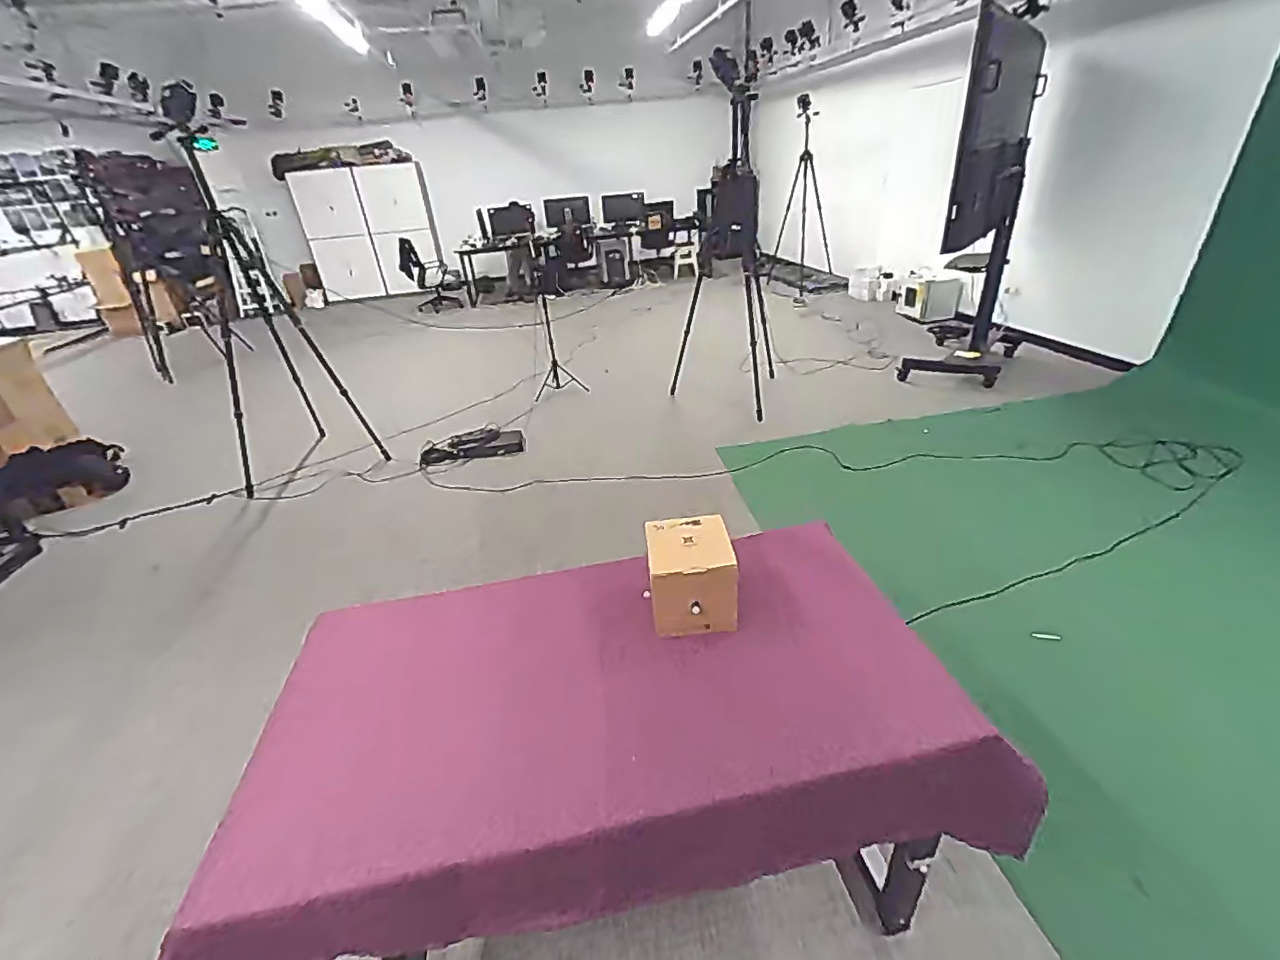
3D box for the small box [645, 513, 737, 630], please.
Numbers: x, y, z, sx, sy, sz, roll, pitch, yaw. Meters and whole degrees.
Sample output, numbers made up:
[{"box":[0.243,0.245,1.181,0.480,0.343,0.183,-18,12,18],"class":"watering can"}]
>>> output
[{"box":[0.104,0.193,1.115,0.168,0.176,0.179,-6,31,0],"class":"small box"}]
